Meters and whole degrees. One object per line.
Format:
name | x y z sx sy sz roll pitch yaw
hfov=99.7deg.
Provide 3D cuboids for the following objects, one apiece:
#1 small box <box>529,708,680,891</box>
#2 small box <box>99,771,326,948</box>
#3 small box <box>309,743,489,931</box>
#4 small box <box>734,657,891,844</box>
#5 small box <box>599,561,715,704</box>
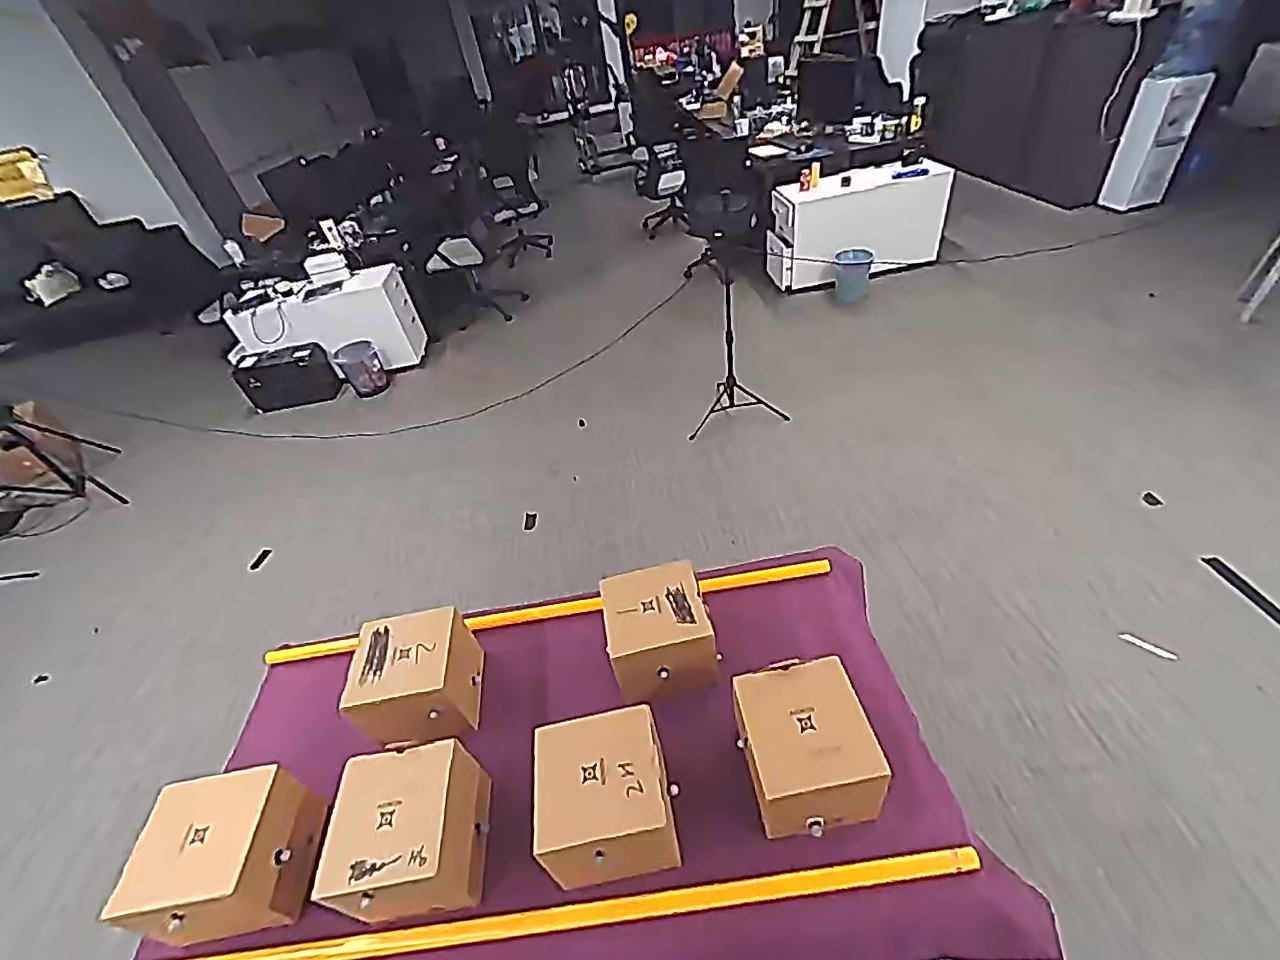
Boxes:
small box | -0.050 0.464 0.783 0.179 0.176 0.168 -12 39 0
small box | -0.608 0.564 0.804 0.179 0.176 0.168 -11 40 -1
small box | -0.331 0.519 0.789 0.168 0.176 0.179 -12 40 2
small box | 0.240 0.395 0.792 0.168 0.176 0.179 -13 39 1
small box | 0.033 0.277 0.977 0.179 0.176 0.168 -14 42 -1
